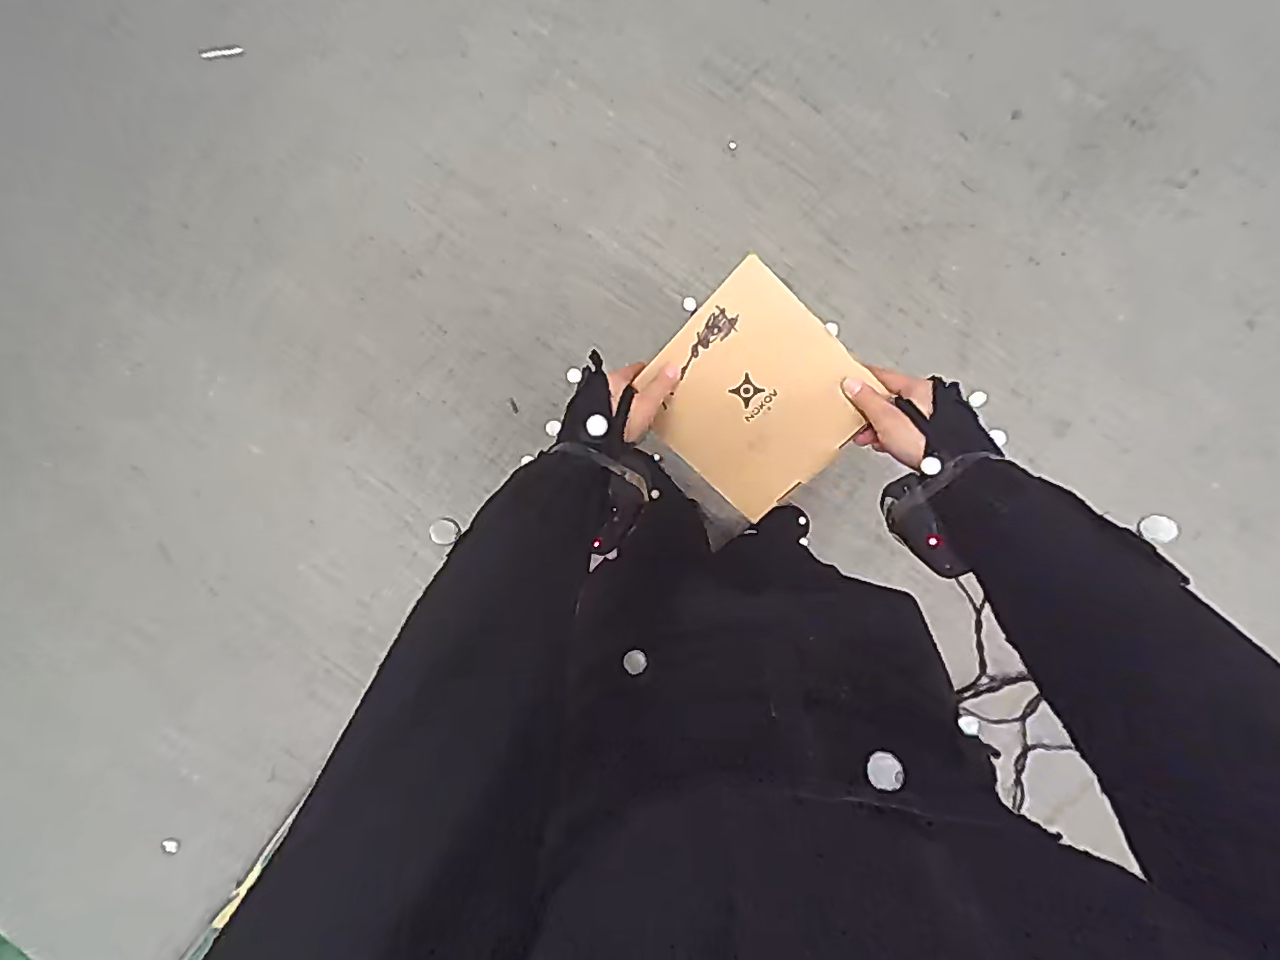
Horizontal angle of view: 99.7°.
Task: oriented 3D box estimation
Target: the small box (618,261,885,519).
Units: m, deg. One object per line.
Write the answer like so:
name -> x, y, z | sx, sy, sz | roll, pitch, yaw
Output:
small box -> 0.106, -0.098, 0.550 | 0.179, 0.176, 0.168 | 42, 109, -7
